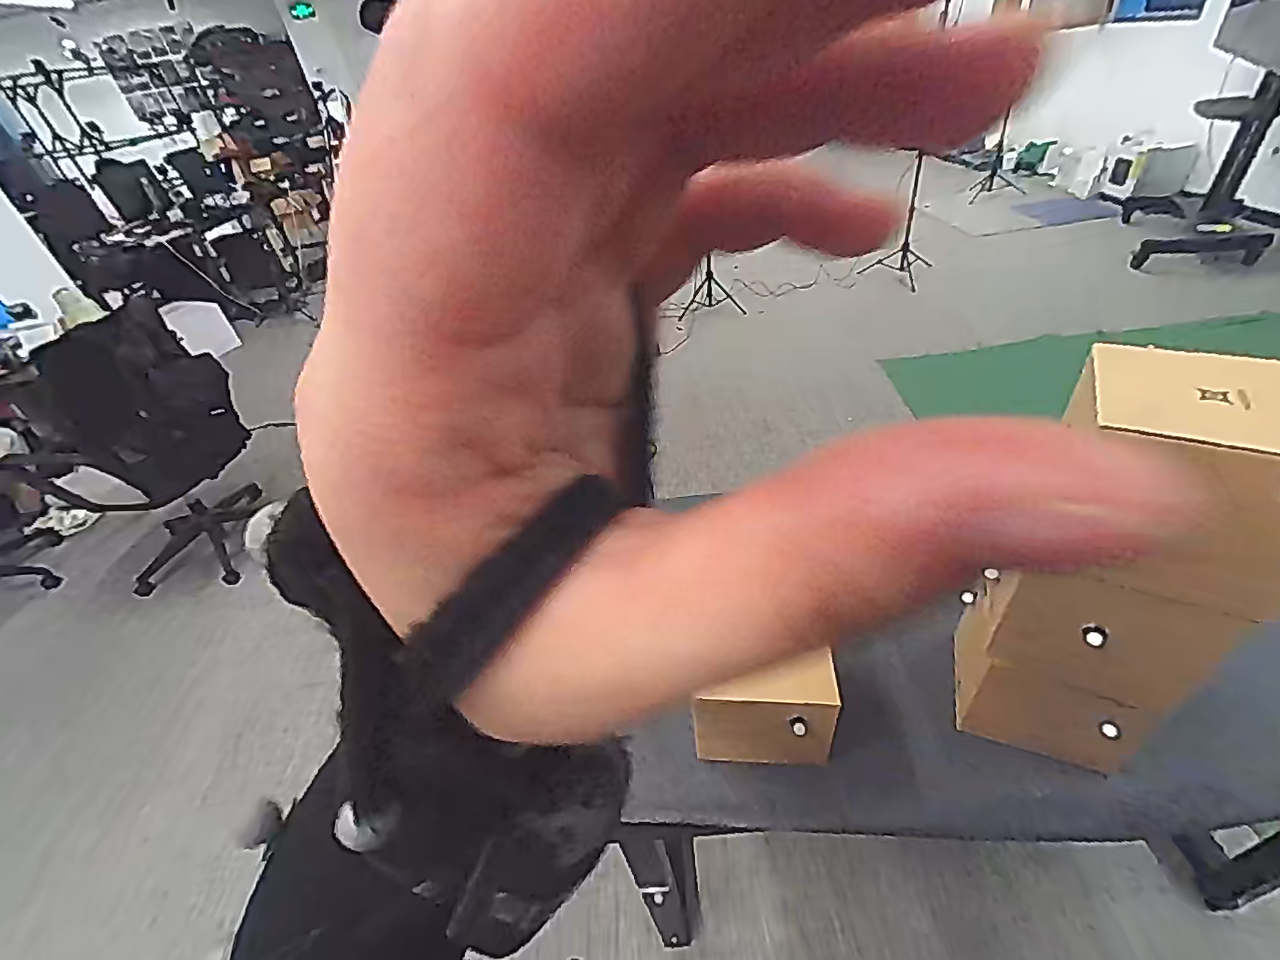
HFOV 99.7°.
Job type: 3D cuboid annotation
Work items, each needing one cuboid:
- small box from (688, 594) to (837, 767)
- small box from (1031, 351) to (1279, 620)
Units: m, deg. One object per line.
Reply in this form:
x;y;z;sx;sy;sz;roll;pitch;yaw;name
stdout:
0.161;0.277;0.747;0.179;0.176;0.168;-2;40;9;small box
0.490;0.000;0.502;0.179;0.176;0.168;16;44;27;small box
